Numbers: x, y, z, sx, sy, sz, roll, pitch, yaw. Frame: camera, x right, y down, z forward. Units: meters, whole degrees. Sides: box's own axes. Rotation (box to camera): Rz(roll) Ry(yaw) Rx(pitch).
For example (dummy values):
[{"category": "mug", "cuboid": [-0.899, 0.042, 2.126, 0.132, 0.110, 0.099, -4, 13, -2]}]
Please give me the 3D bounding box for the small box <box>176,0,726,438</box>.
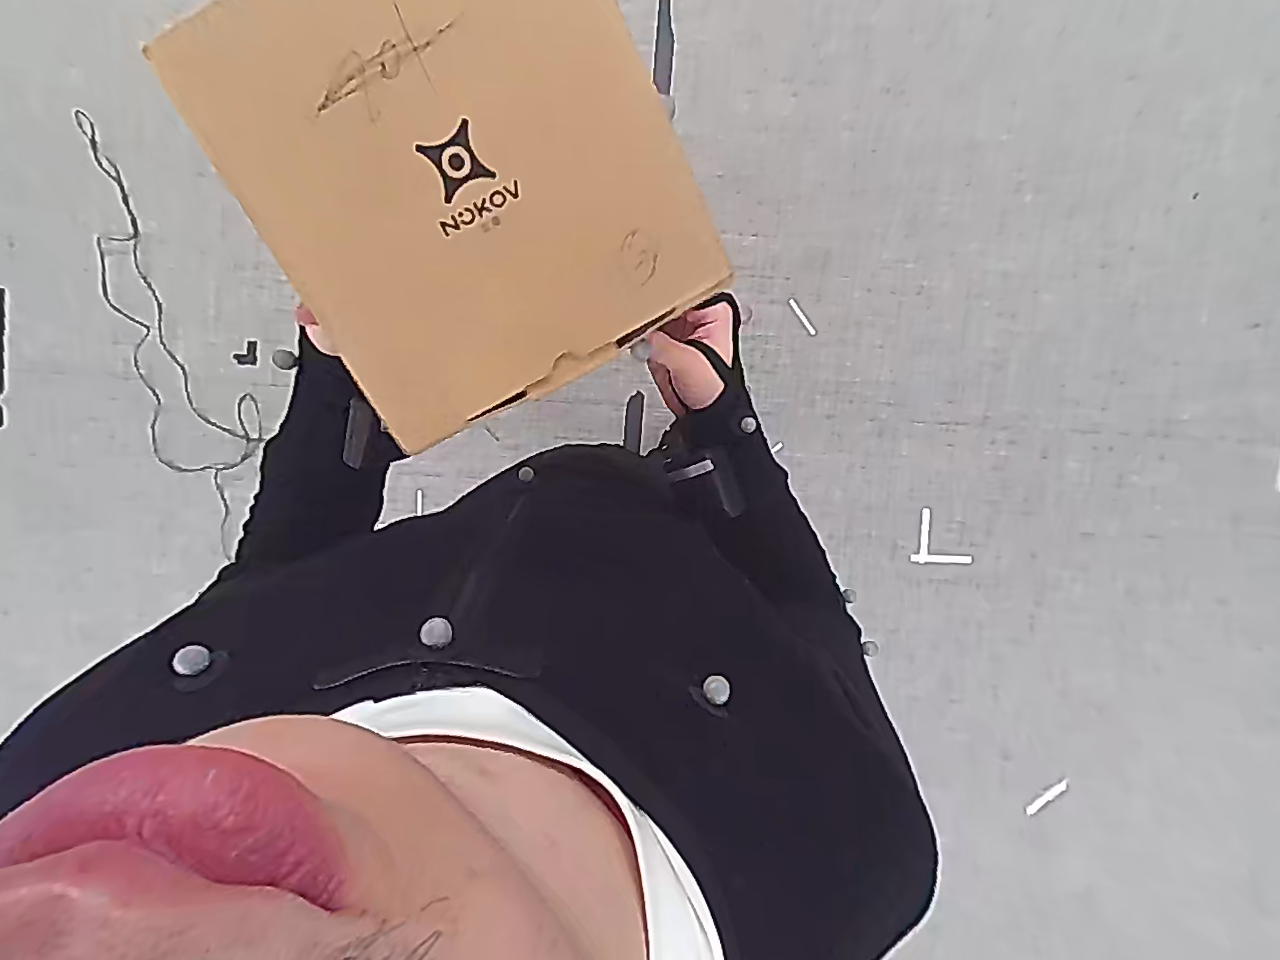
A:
[{"category": "small box", "cuboid": [-0.076, -0.148, 0.304, 0.168, 0.176, 0.179, -30, 103, 2]}]
